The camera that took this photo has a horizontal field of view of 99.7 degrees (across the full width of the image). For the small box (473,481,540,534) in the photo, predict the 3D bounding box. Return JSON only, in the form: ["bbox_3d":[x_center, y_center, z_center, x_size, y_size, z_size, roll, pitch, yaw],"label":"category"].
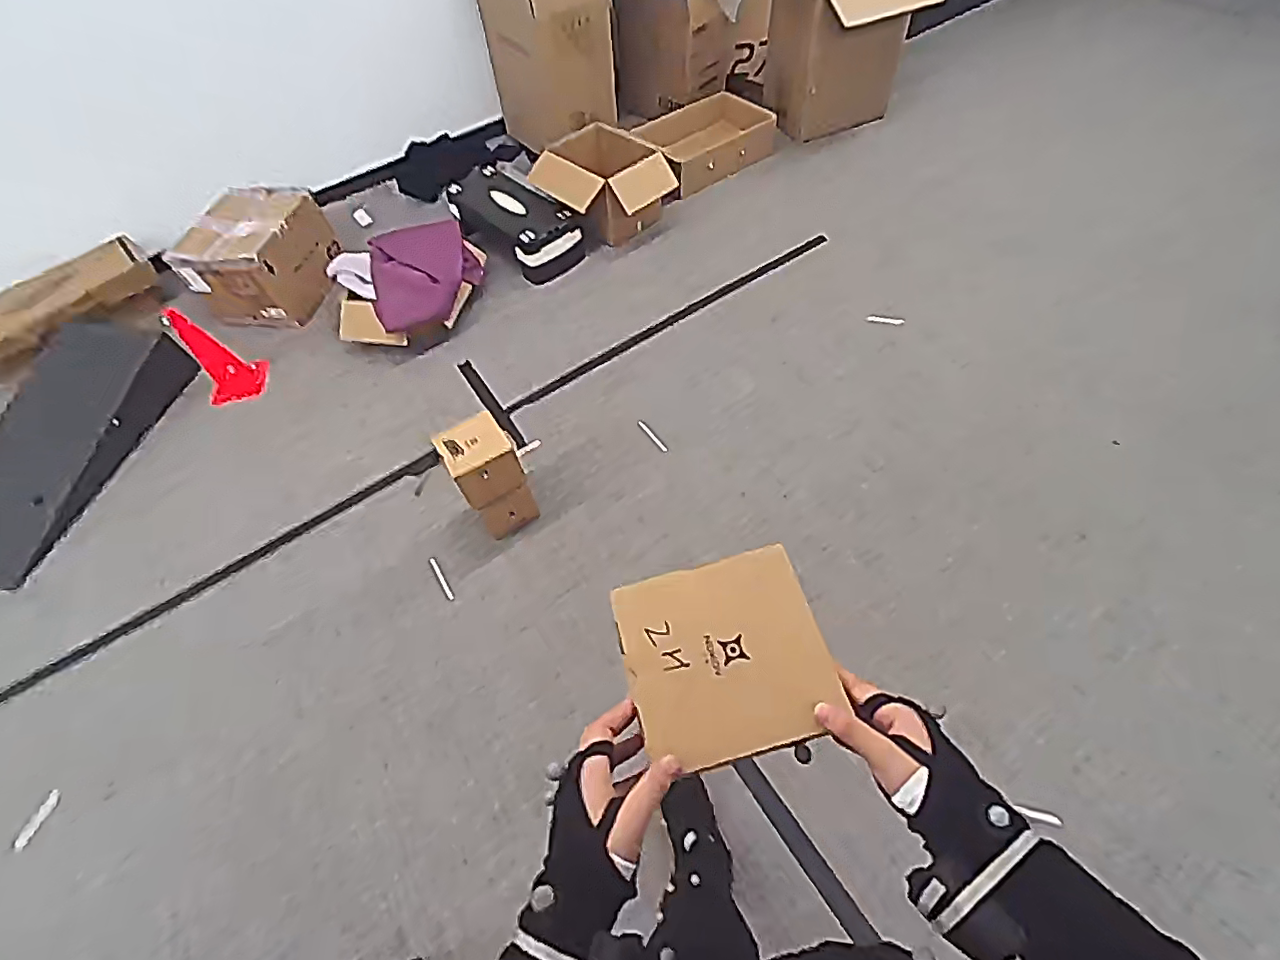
[{"bbox_3d":[-0.425,0.043,1.644,0.168,0.176,0.179,-30,60,-14],"label":"small box"}]

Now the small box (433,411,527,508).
[{"bbox_3d":[-0.442,-0.053,1.510,0.179,0.176,0.168,-30,59,-14],"label":"small box"}]

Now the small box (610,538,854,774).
[{"bbox_3d":[0.080,0.181,0.540,0.179,0.176,0.168,-15,60,-2],"label":"small box"}]
